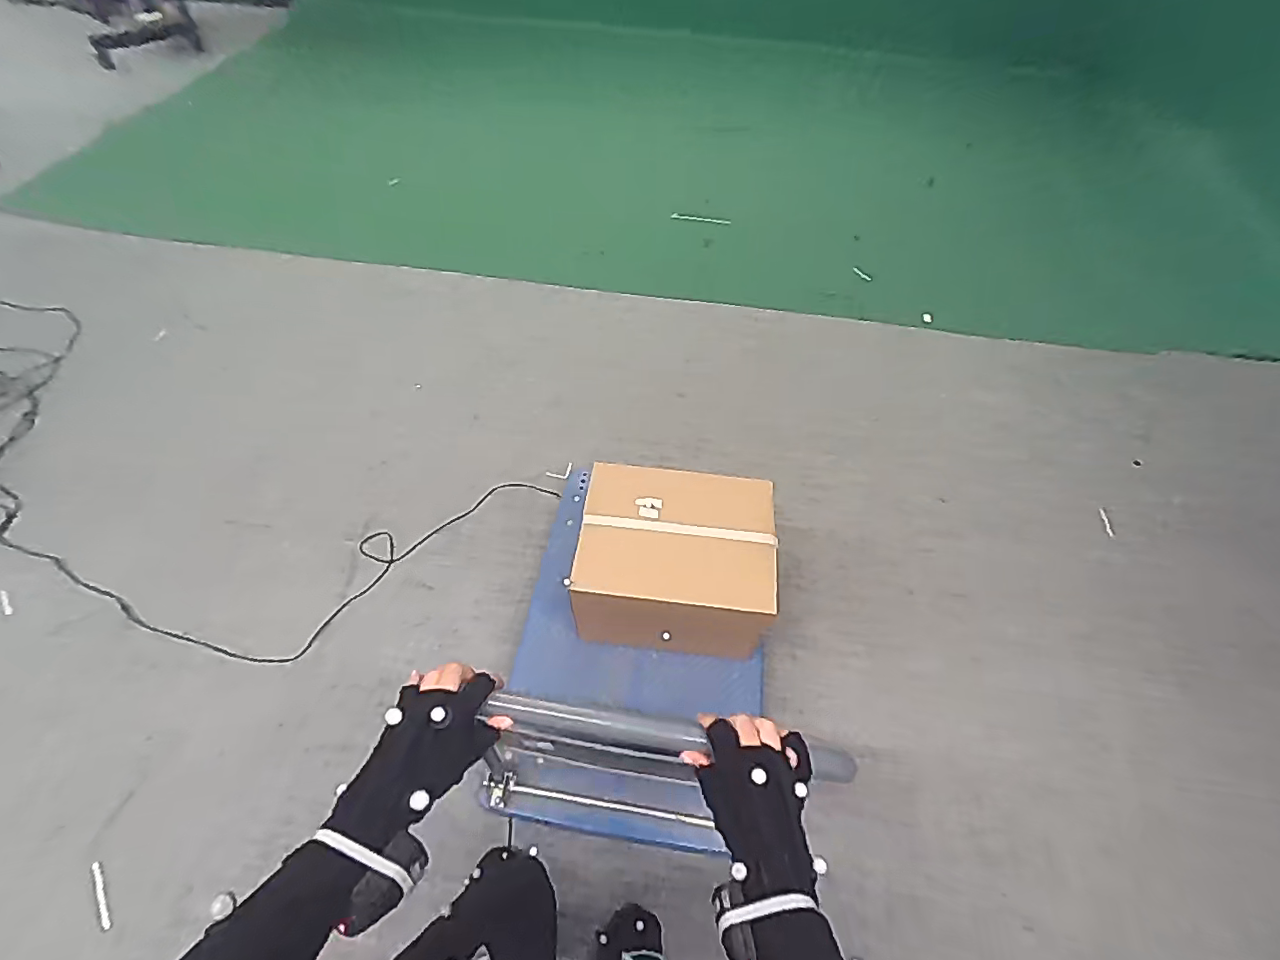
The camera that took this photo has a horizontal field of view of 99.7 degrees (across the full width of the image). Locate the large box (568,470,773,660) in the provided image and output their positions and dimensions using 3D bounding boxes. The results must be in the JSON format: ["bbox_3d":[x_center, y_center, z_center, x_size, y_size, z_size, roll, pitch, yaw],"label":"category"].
[{"bbox_3d":[0.073,0.203,1.244,0.408,0.320,0.320,6,55,4],"label":"large box"}]
